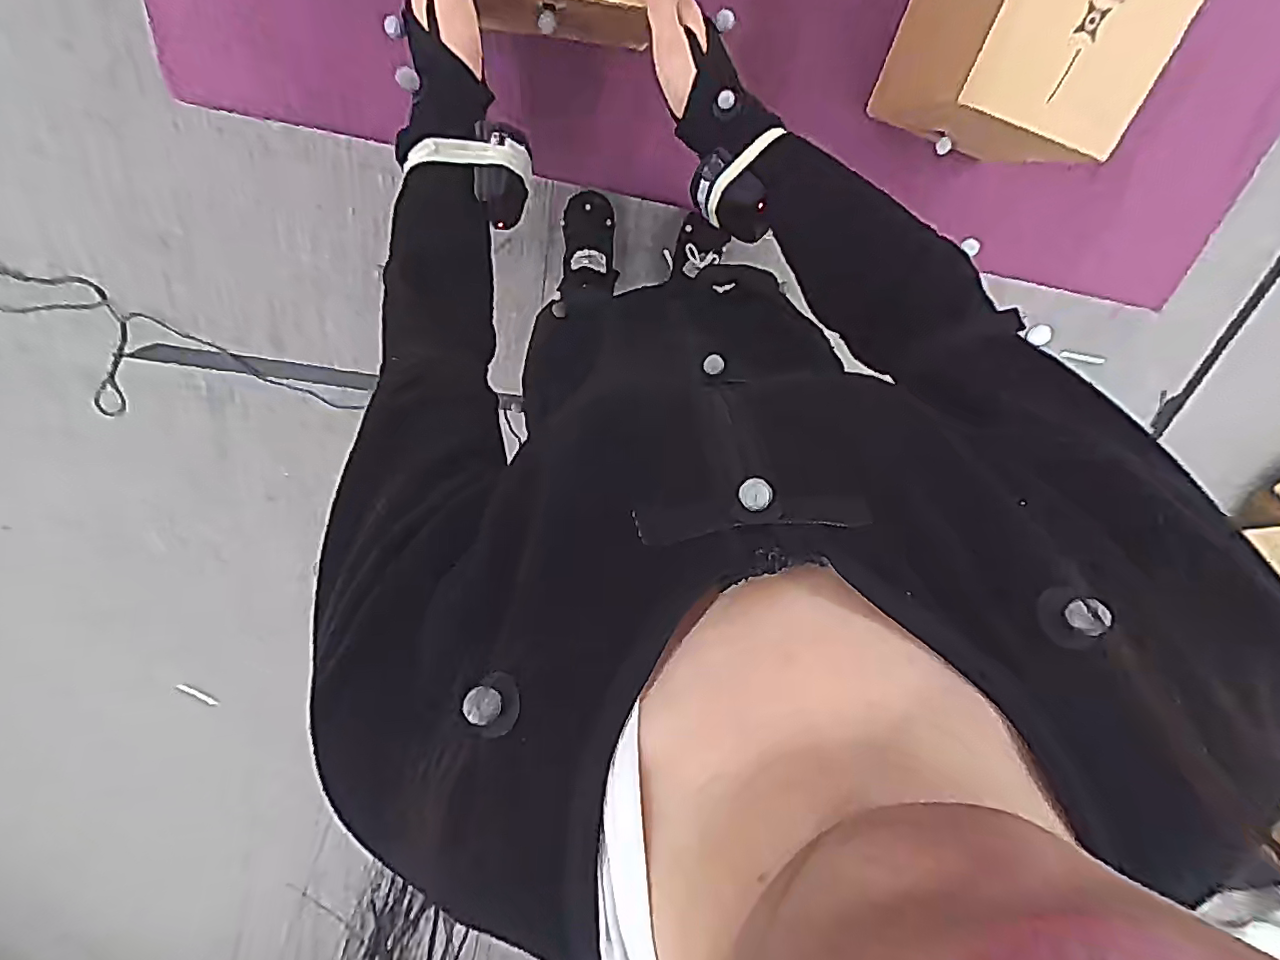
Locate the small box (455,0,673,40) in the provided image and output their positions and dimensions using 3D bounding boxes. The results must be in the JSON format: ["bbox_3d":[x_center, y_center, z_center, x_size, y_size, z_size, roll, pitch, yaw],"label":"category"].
[{"bbox_3d":[-0.063,-0.464,0.417,0.179,0.176,0.168,2,121,-8],"label":"small box"}]

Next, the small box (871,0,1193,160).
[{"bbox_3d":[0.350,-0.419,0.500,0.168,0.176,0.179,11,119,-14],"label":"small box"}]
